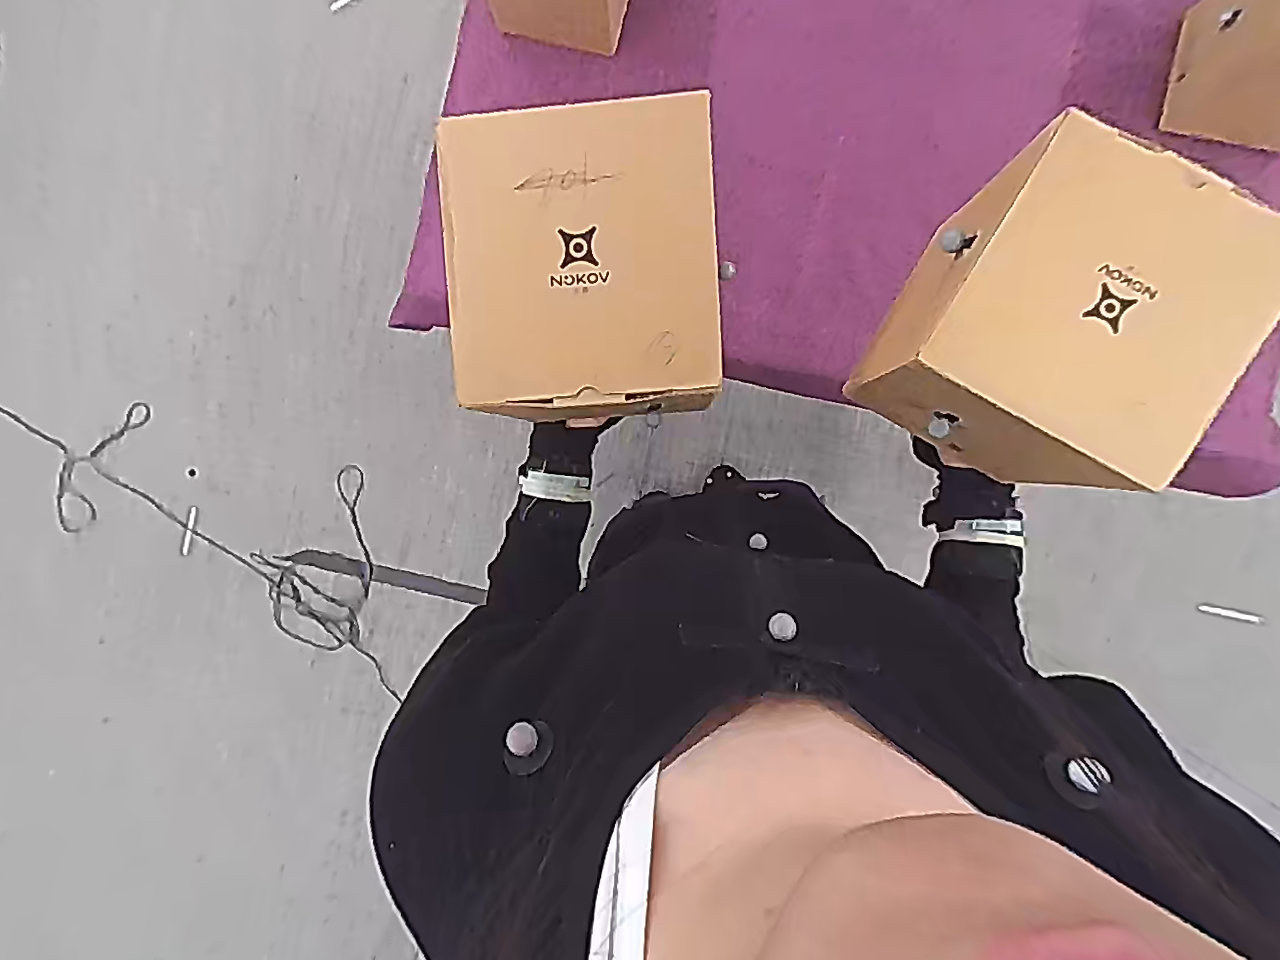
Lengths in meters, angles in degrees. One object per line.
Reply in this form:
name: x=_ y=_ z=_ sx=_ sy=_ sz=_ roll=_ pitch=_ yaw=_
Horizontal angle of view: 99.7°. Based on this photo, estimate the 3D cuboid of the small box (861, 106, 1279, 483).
small box: x=0.292 y=-0.112 z=0.403 sx=0.168 sy=0.176 sz=0.179 roll=30 pitch=93 yaw=4

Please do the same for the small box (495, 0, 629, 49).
small box: x=-0.102 y=-0.710 z=0.700 sx=0.179 sy=0.176 sz=0.168 roll=14 pitch=93 yaw=1

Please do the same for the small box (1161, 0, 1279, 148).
small box: x=0.804 y=-0.541 z=0.656 sx=0.179 sy=0.176 sz=0.168 roll=13 pitch=91 yaw=2

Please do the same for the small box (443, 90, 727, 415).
small box: x=-0.027 y=-0.141 z=0.405 sx=0.168 sy=0.176 sz=0.179 roll=-4 pitch=93 yaw=3
